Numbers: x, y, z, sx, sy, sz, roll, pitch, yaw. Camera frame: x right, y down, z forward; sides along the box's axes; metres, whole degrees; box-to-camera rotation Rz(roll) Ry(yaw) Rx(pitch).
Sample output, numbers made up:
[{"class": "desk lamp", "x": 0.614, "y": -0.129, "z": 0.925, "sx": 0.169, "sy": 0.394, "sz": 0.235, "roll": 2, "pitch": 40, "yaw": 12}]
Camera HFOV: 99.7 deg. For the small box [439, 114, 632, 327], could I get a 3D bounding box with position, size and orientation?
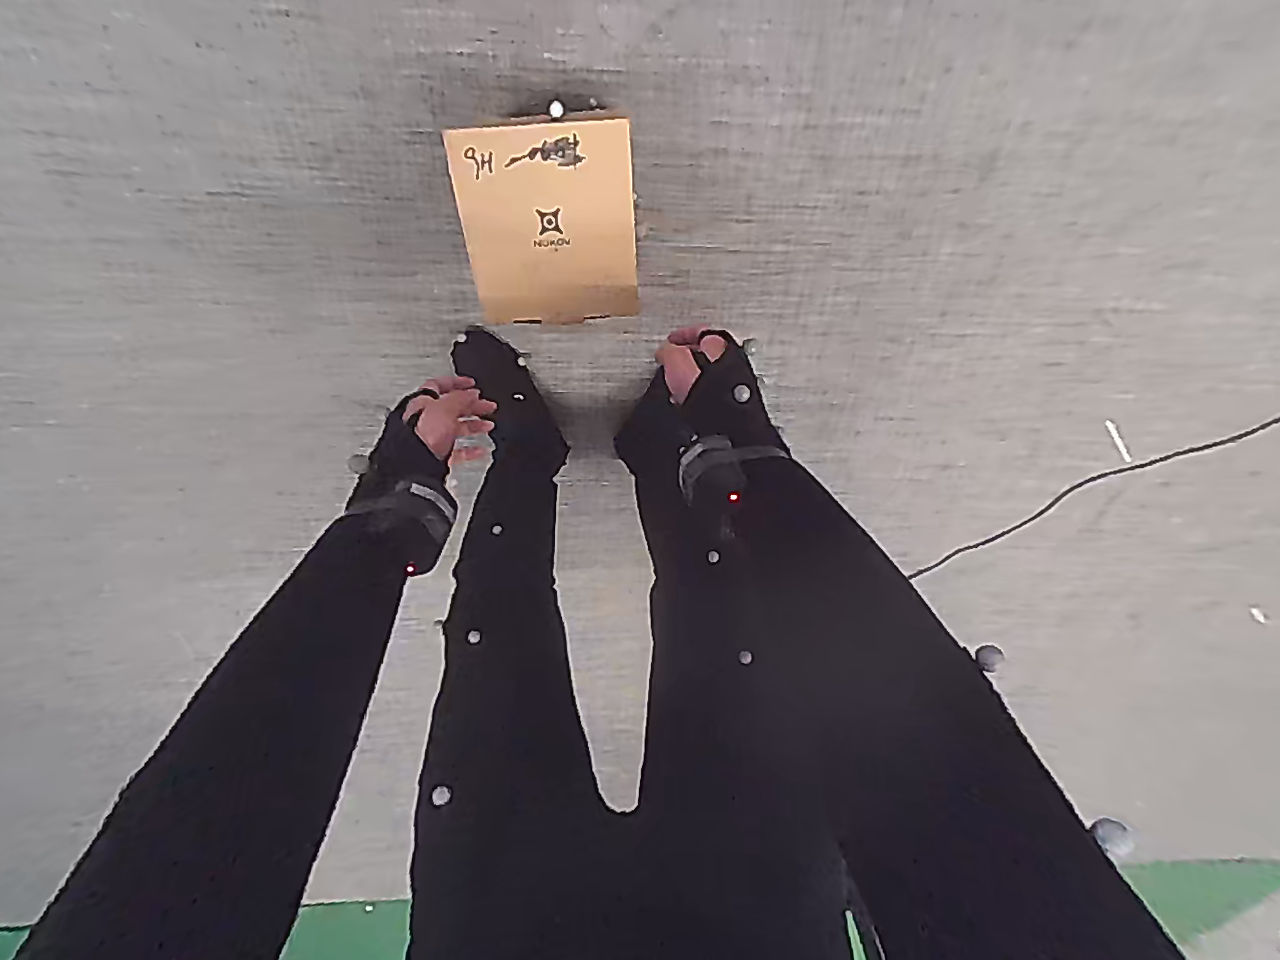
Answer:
[{"class": "small box", "x": -0.093, "y": -0.282, "z": 0.582, "sx": 0.168, "sy": 0.176, "sz": 0.179, "roll": -3, "pitch": 126, "yaw": 0}]
